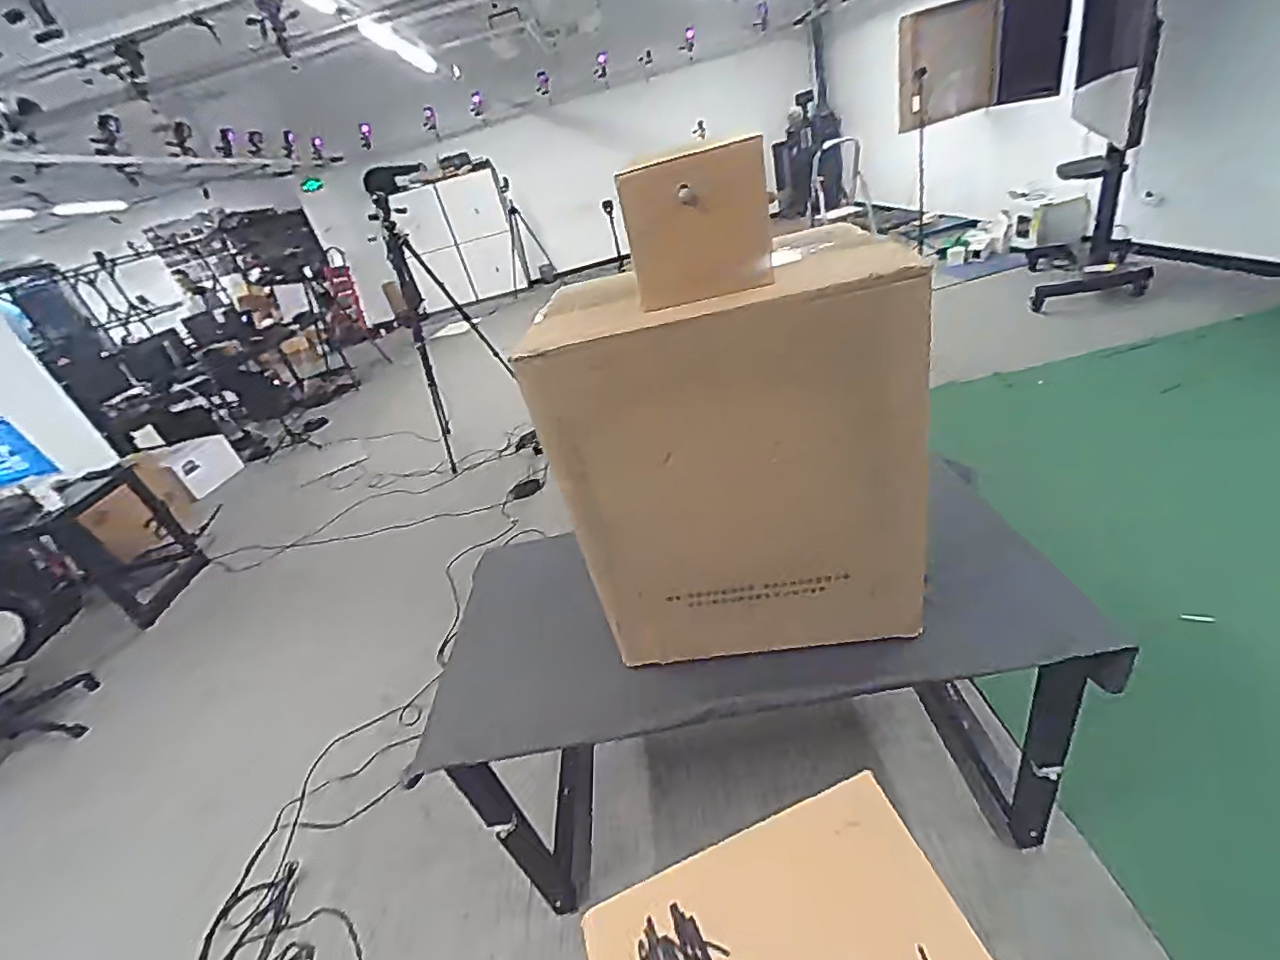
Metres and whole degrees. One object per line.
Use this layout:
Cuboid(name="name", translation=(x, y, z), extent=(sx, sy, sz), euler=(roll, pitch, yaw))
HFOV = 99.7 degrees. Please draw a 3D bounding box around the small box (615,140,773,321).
Cuboid(name="small box", translation=(0.079, -0.332, 0.722), extent=(0.179, 0.176, 0.168), euler=(-10, 33, 11))
